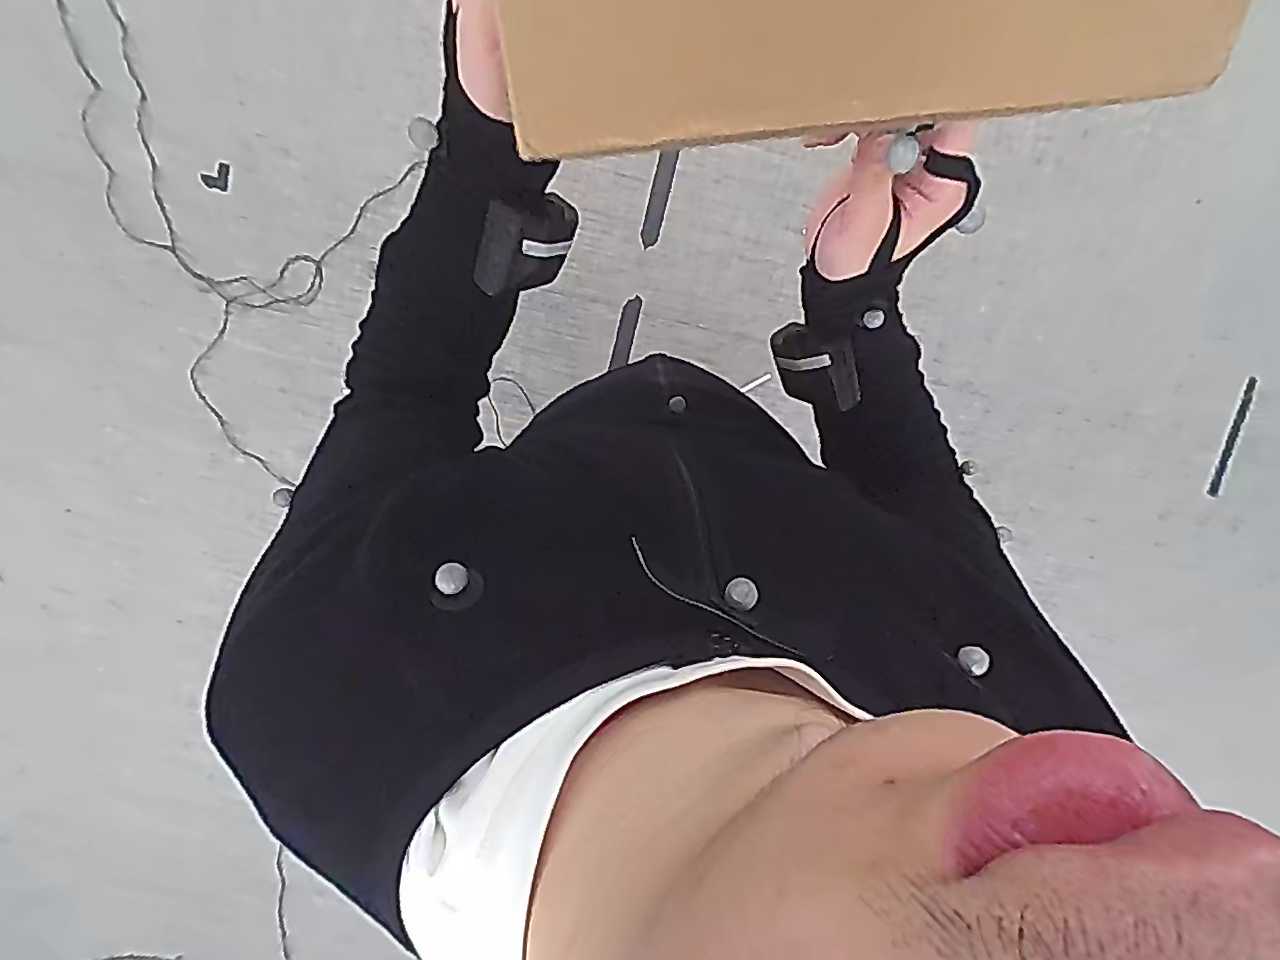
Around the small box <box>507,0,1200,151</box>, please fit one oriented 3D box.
[{"bbox_3d":[0.048,-0.208,0.173,0.179,0.176,0.168,-4,120,2],"label":"small box"}]
